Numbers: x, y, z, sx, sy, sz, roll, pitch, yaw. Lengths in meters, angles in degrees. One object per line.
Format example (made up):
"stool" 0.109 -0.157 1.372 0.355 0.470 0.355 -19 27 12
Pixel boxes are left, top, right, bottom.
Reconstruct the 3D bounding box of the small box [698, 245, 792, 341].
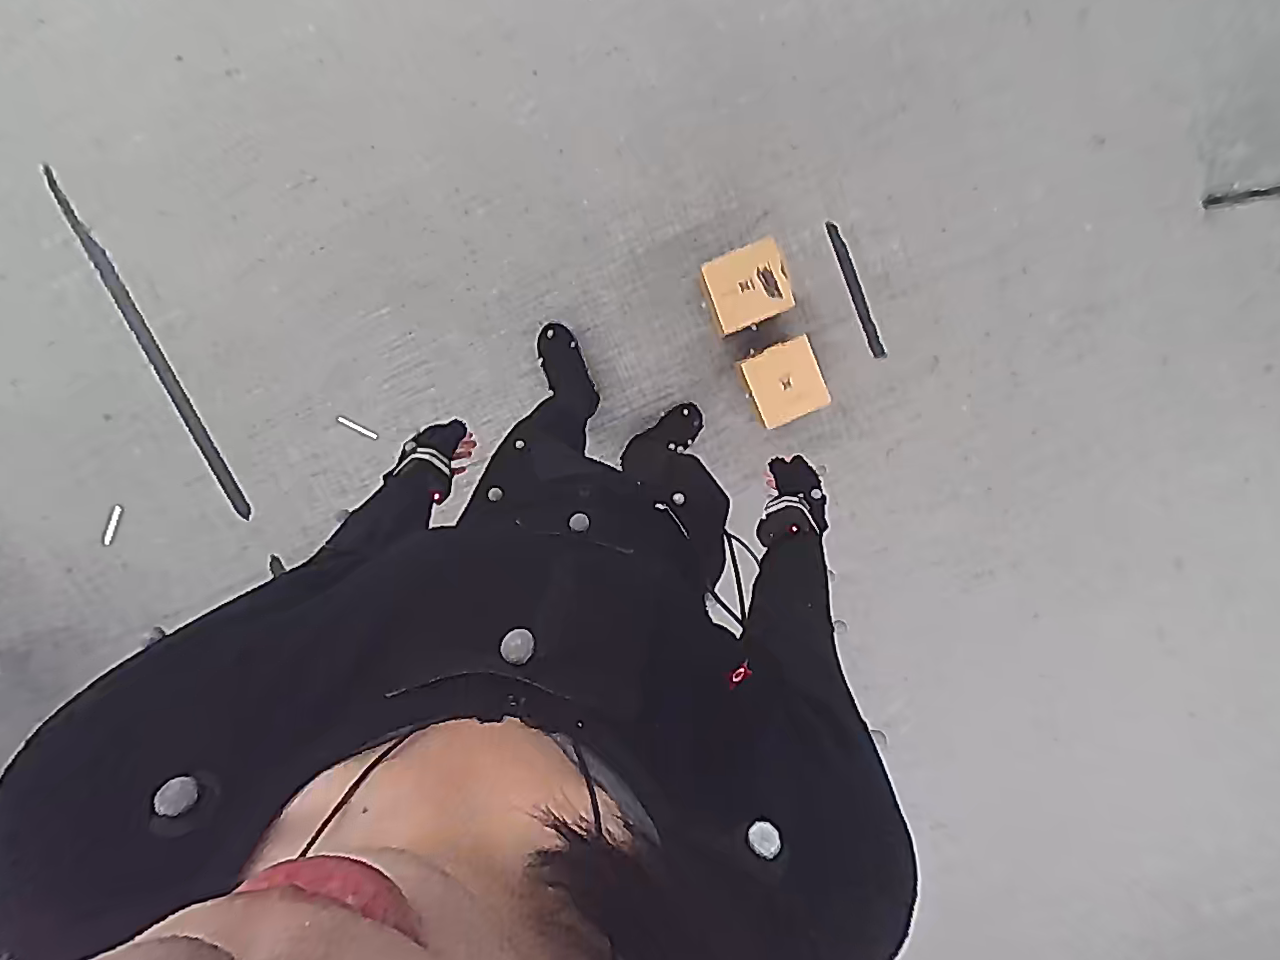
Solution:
"small box" 0.249 -0.451 1.326 0.179 0.176 0.168 -20 100 8

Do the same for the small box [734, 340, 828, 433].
"small box" 0.347 -0.237 1.366 0.168 0.176 0.179 -23 100 10
